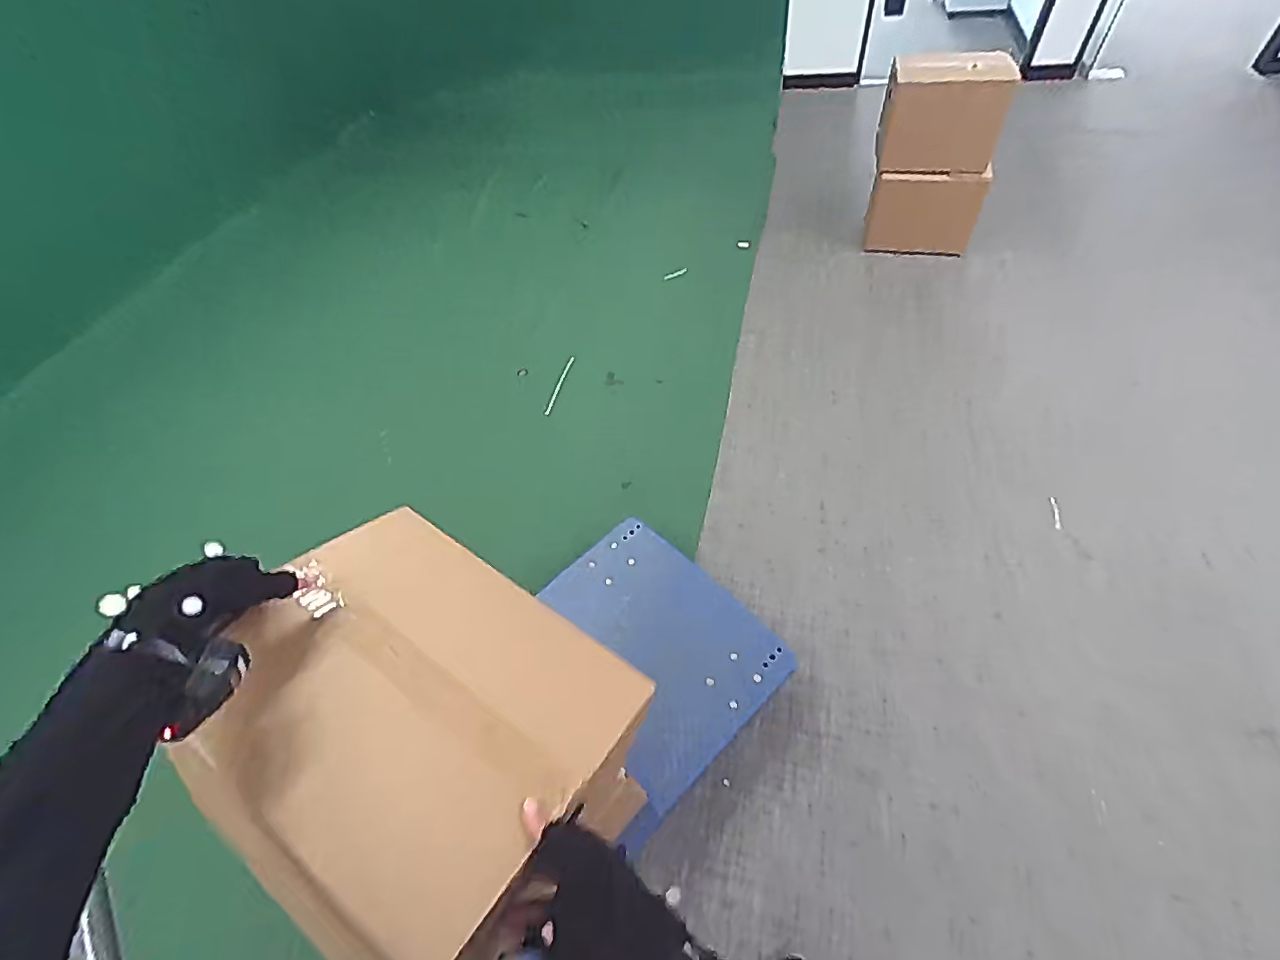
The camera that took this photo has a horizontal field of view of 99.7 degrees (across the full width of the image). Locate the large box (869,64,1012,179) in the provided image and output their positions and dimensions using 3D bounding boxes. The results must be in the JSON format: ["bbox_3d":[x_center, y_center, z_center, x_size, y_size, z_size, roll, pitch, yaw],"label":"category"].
[{"bbox_3d":[1.153,-1.412,2.131,0.408,0.320,0.320,9,52,12],"label":"large box"}]
